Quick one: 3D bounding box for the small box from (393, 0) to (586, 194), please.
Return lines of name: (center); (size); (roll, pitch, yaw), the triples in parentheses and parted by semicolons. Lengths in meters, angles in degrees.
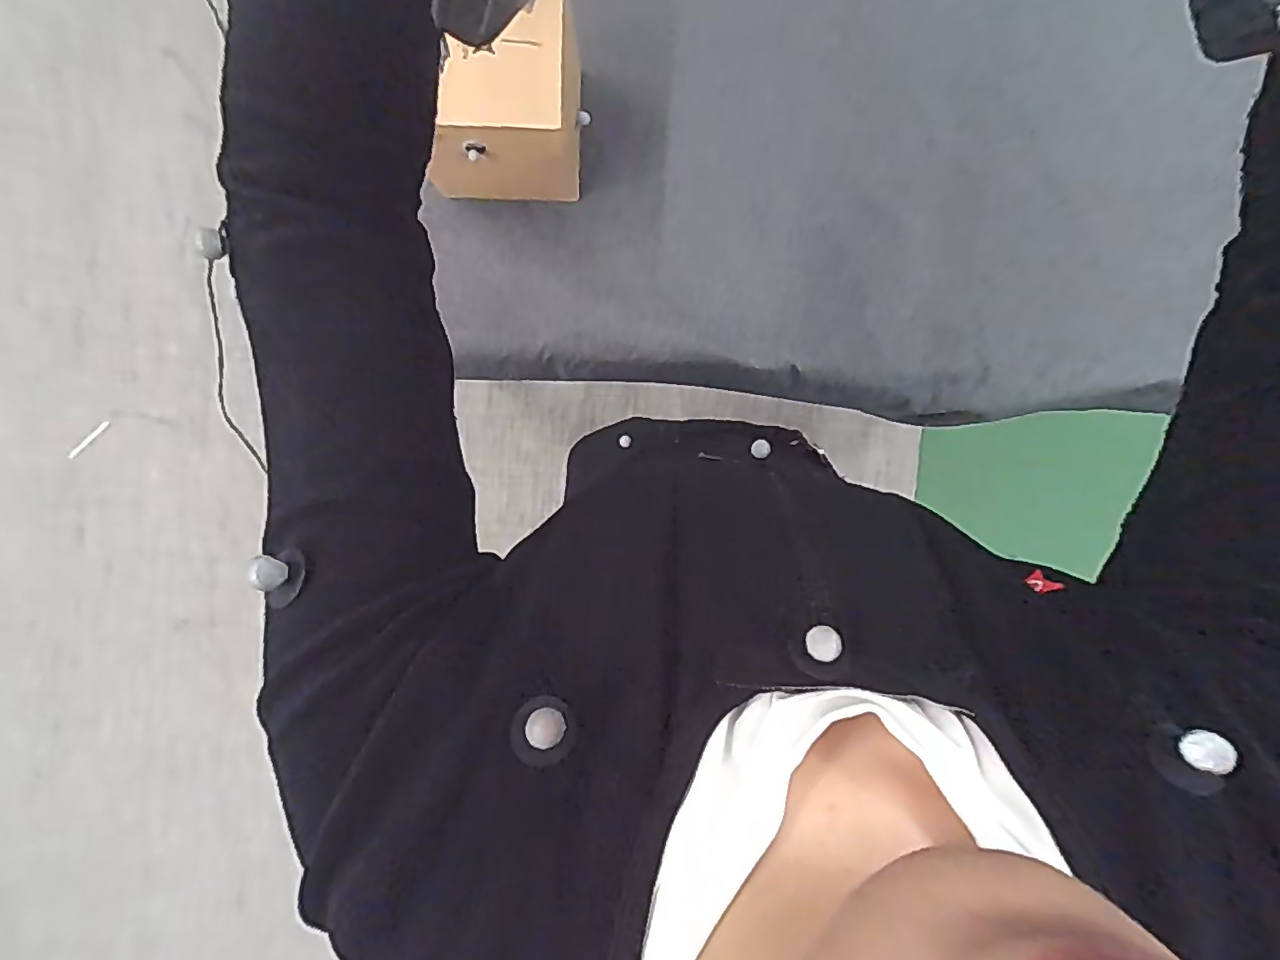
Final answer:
small box: (-0.159, -0.448, 0.618); (0.179, 0.176, 0.168); (2, 95, -1)
